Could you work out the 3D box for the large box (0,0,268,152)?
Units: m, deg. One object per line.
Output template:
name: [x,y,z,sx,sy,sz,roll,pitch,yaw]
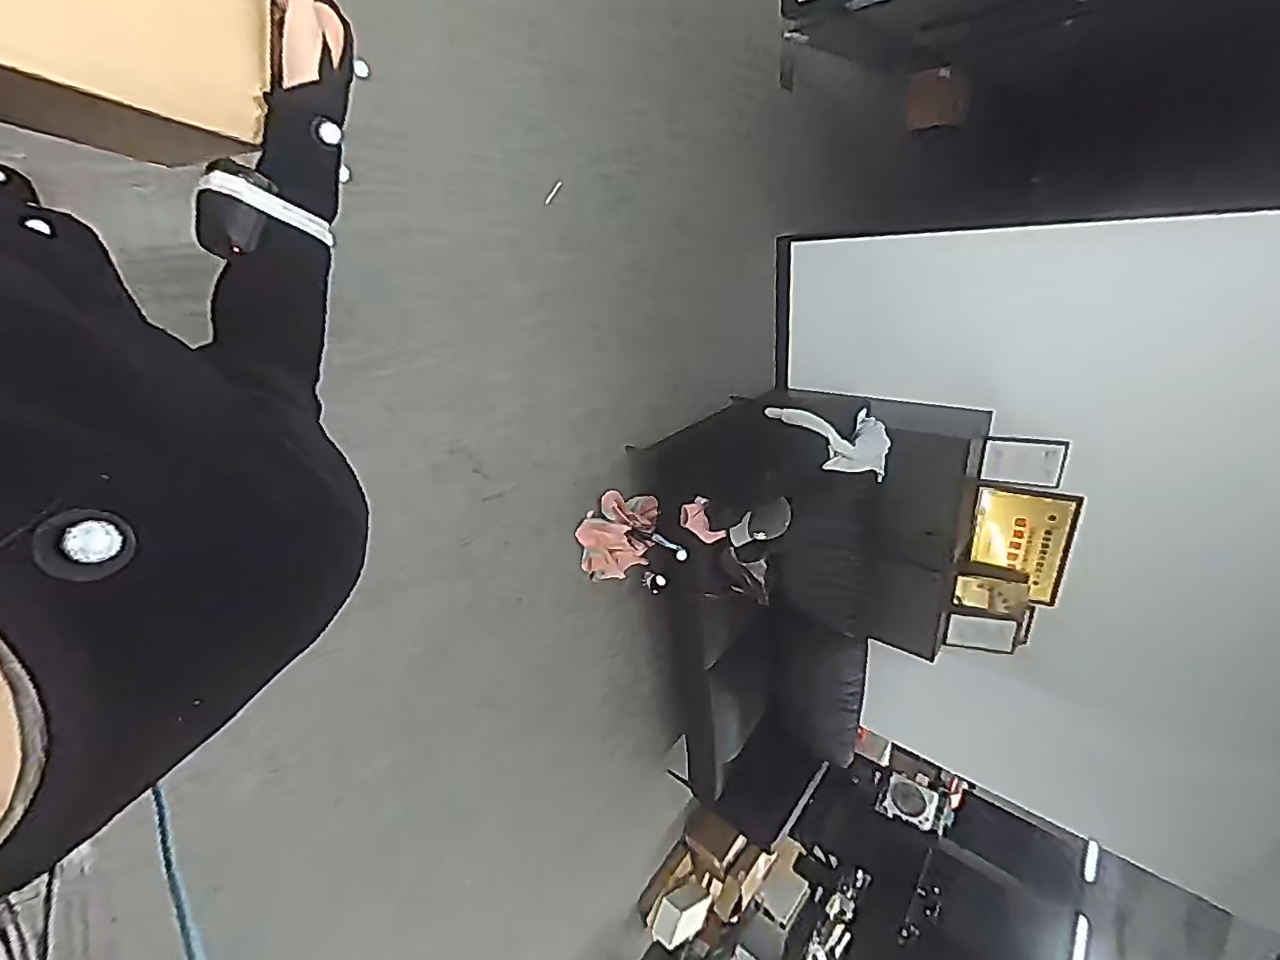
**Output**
large box: [-0.516,-0.443,0.338,0.408,0.320,0.320,-9,114,-49]
